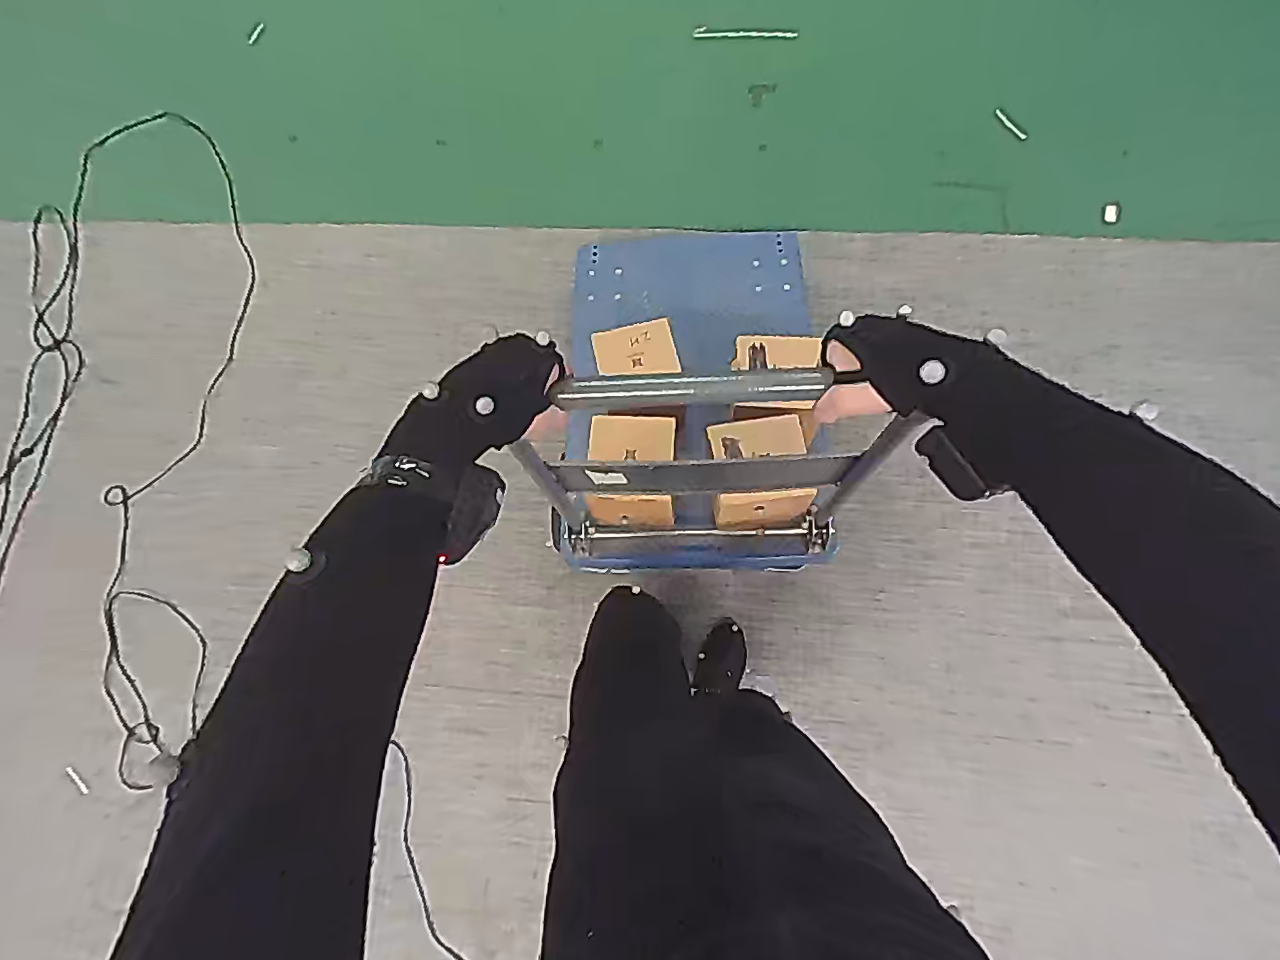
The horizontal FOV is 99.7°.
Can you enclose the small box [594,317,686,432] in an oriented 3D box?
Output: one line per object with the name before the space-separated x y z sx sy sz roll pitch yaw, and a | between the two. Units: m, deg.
small box | 0.005 -0.218 1.172 0.168 0.176 0.179 -12 67 0
